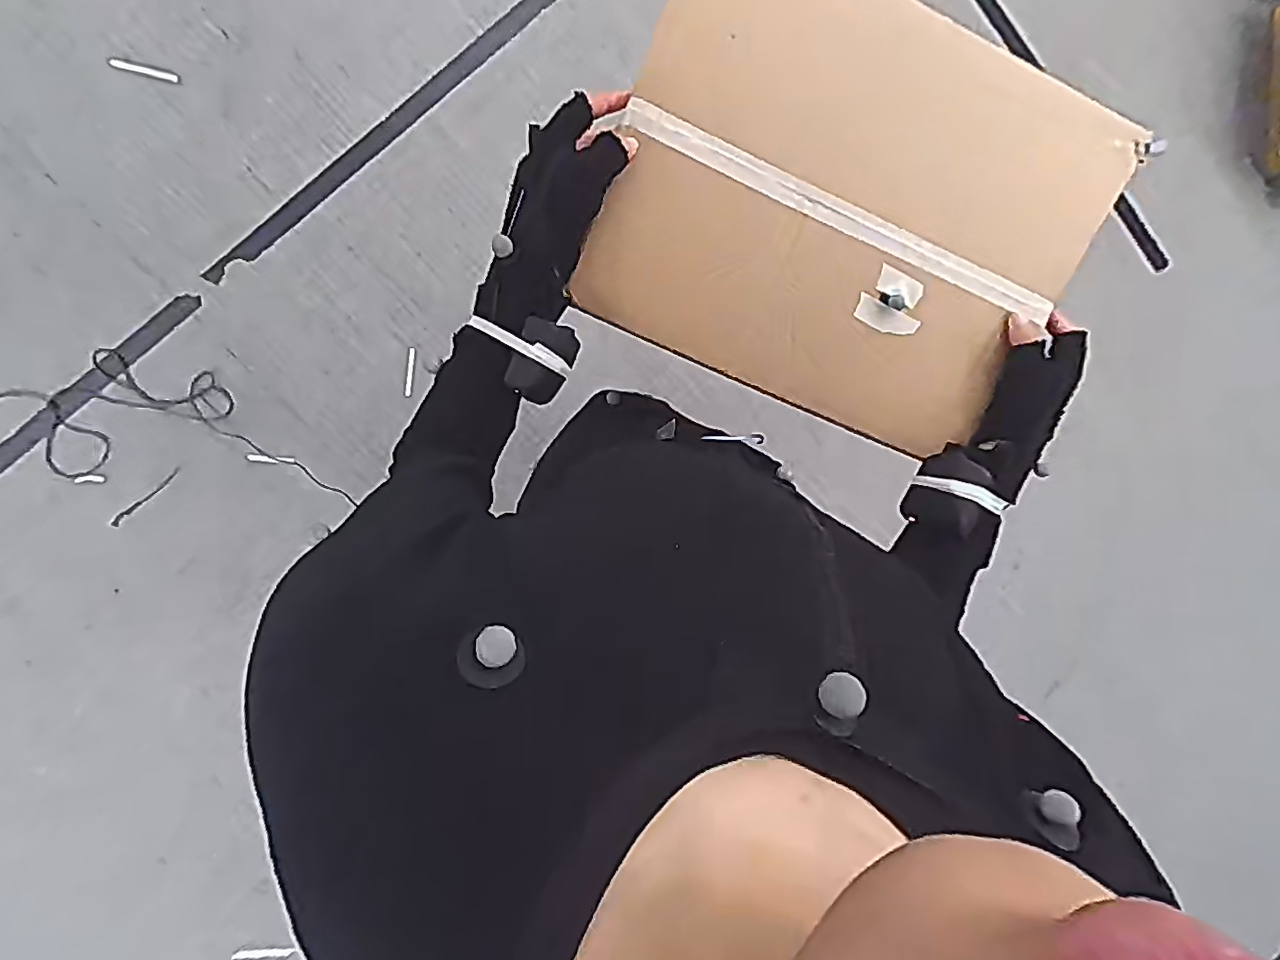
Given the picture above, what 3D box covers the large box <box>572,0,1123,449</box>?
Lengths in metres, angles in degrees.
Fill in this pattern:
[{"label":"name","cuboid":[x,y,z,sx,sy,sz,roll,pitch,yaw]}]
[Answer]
[{"label":"large box","cuboid":[0.170,-0.276,0.616,0.408,0.320,0.320,22,106,-8]}]
